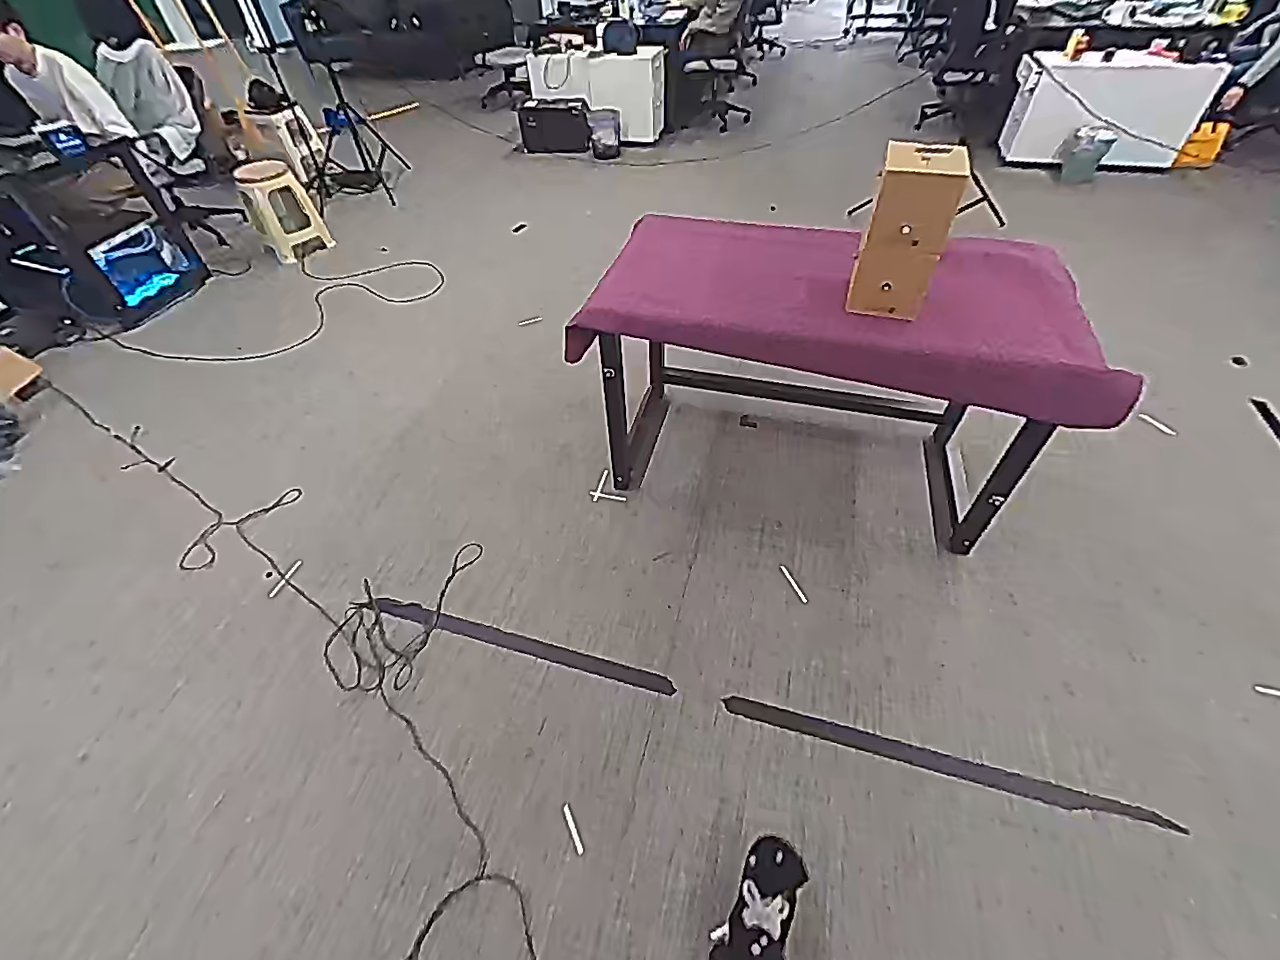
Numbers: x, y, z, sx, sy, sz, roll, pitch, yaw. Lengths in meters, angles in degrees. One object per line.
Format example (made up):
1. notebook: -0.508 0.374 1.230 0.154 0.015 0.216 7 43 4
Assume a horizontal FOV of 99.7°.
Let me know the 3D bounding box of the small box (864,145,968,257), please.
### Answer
1. small box: 0.616 -0.631 1.222 0.168 0.176 0.179 13 50 14

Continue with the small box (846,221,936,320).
1. small box: 0.618 -0.518 1.342 0.168 0.176 0.179 13 49 14
